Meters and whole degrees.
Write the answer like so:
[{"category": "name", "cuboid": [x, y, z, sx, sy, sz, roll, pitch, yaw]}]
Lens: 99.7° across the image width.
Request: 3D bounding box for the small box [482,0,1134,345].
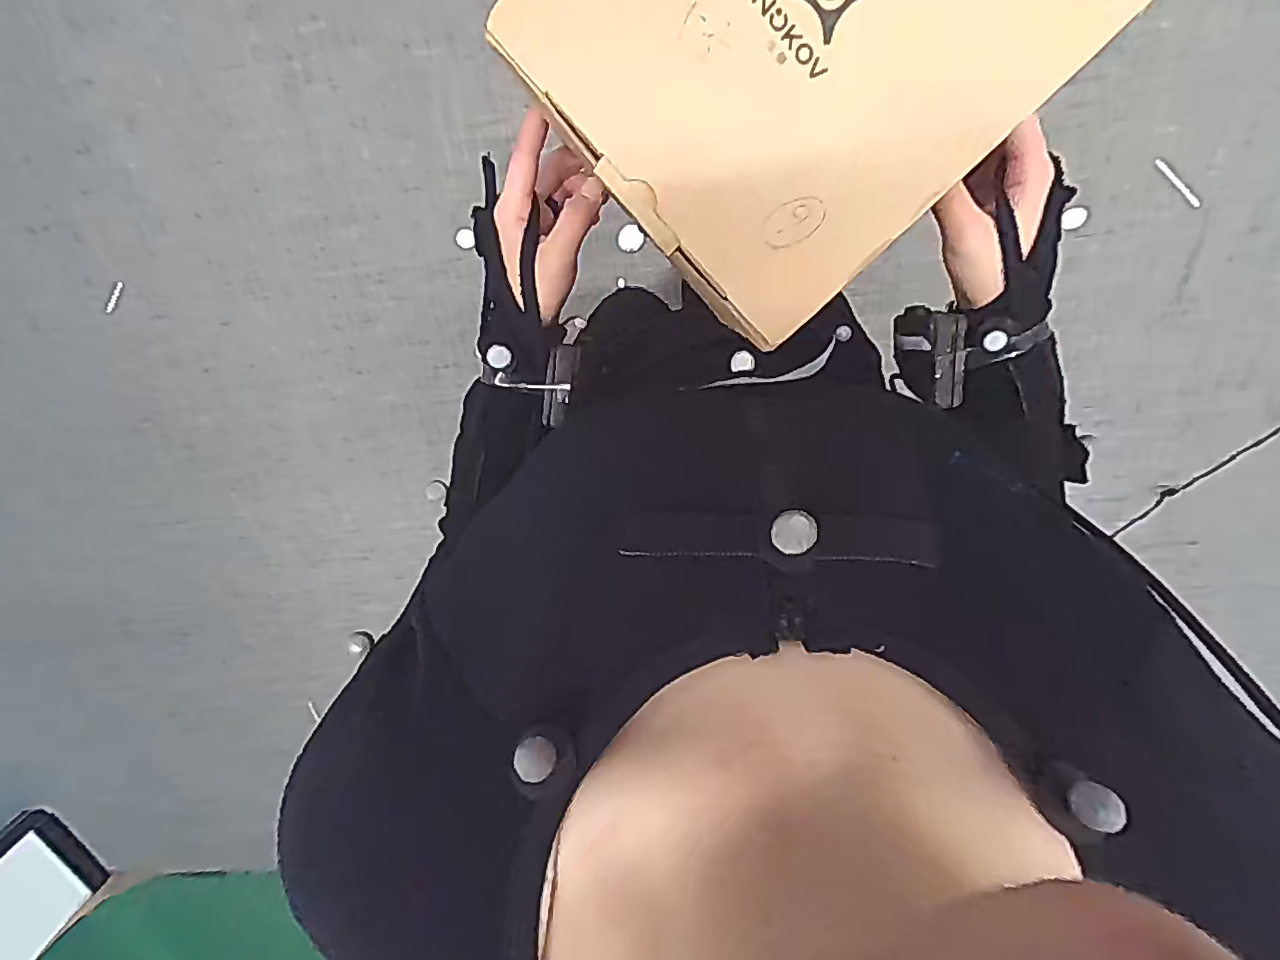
[{"category": "small box", "cuboid": [0.062, -0.193, 0.270, 0.179, 0.176, 0.168, -42, 102, 16]}]
